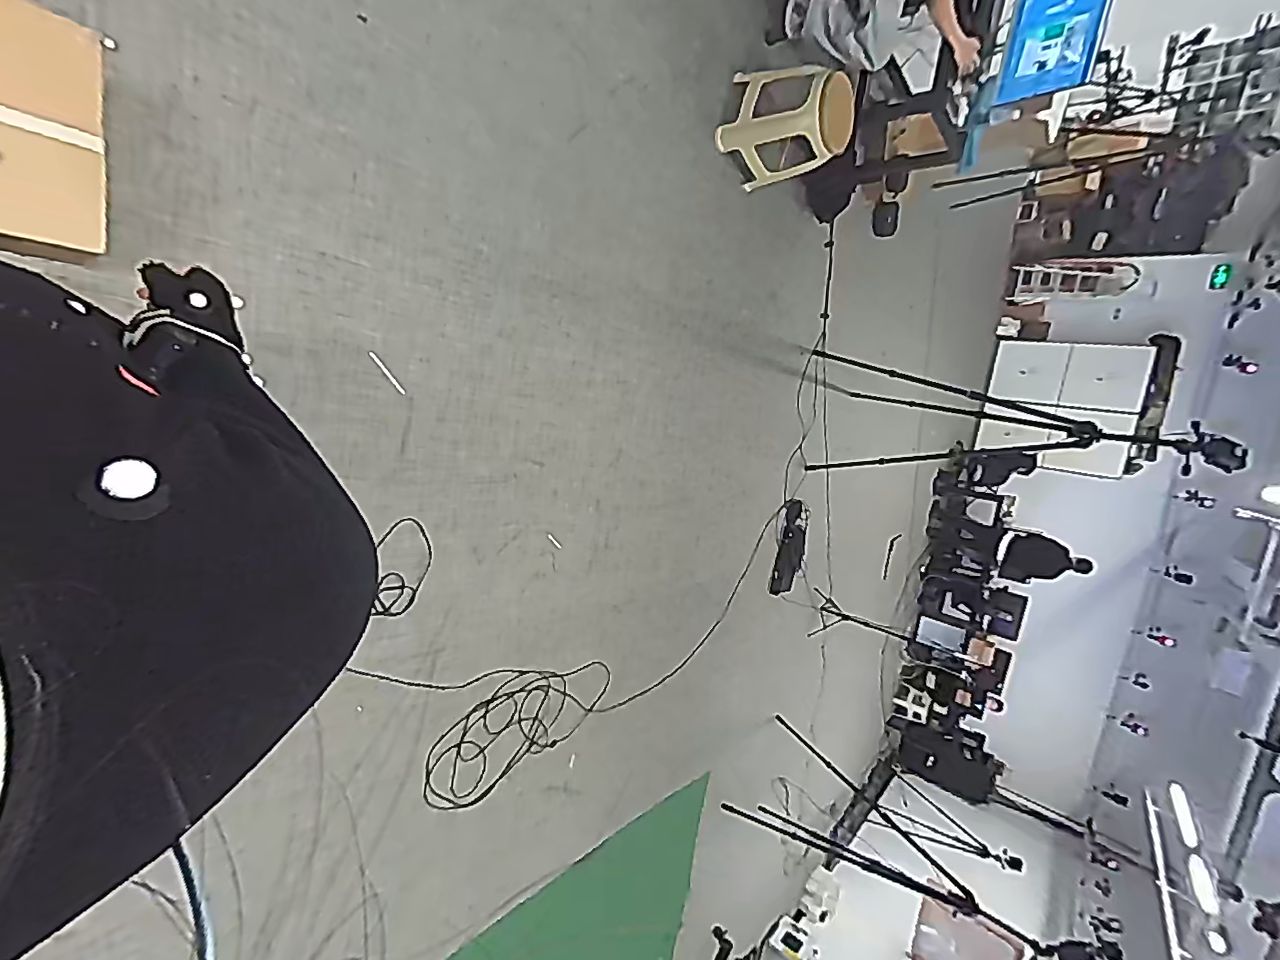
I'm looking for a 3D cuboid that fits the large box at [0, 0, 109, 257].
[{"bbox_3d":[-1.047,-0.533,0.756,0.408,0.320,0.320,-2,104,-50],"label":"large box"}]
